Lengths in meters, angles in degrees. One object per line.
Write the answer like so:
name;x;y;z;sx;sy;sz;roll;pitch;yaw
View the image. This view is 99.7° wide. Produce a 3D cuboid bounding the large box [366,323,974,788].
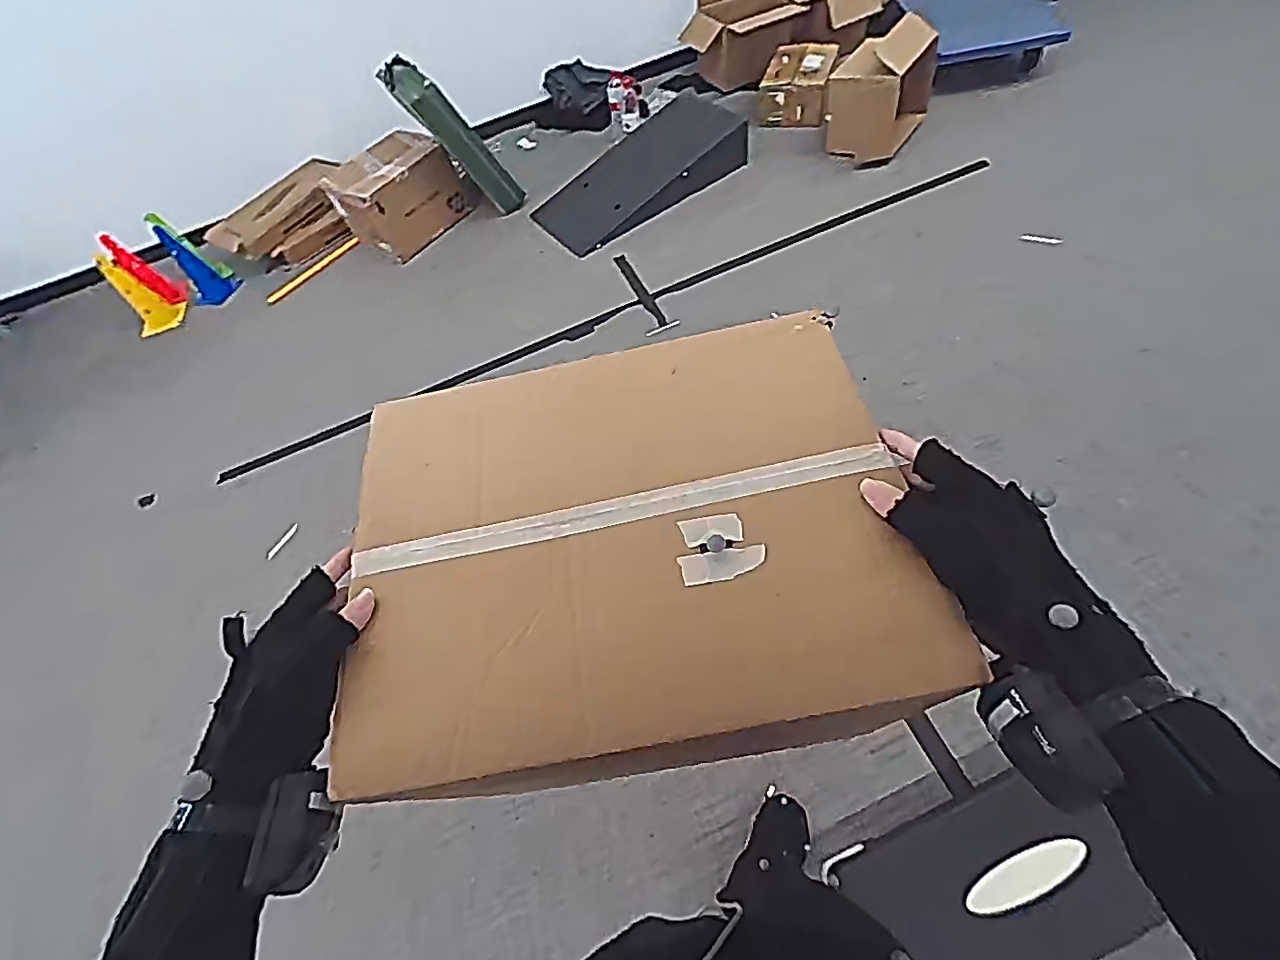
large box;0.012;0.100;0.543;0.408;0.320;0.320;-11;60;2
